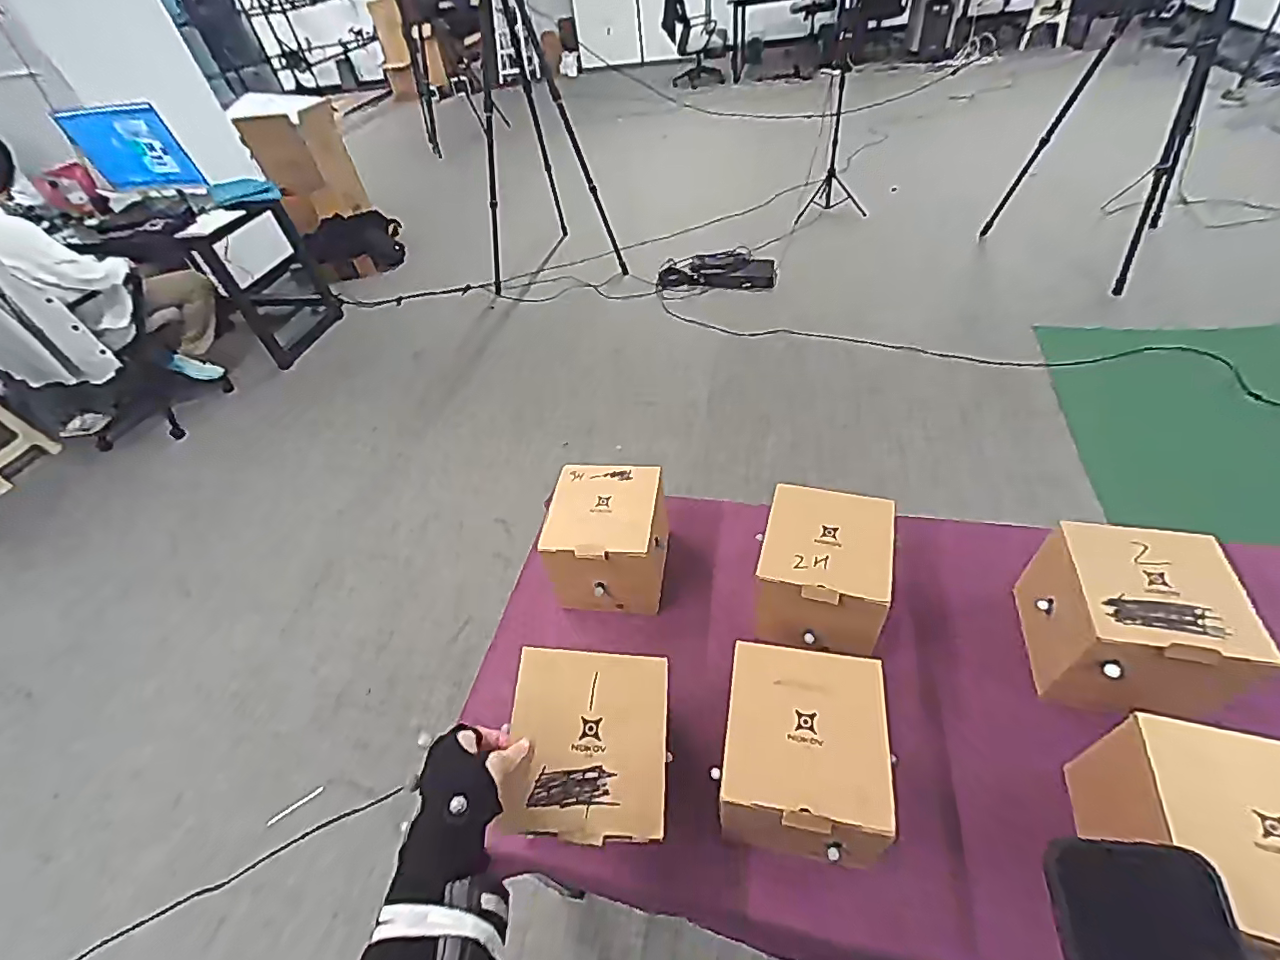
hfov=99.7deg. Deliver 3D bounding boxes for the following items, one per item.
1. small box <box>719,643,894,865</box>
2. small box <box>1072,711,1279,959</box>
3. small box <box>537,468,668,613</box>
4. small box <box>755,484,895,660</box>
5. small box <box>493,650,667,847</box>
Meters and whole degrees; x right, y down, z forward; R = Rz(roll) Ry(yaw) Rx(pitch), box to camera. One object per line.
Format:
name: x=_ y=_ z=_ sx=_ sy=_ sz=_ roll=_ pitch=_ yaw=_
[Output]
small box: x=0.186 y=0.319 z=0.629 sx=0.168 sy=0.176 sz=0.179 roll=4 pitch=47 yaw=14
small box: x=0.558 y=0.359 z=0.520 sx=0.168 sy=0.176 sz=0.179 roll=7 pitch=49 yaw=17
small box: x=-0.048 y=0.100 z=0.881 sx=0.168 sy=0.176 sz=0.179 roll=1 pitch=48 yaw=11
small box: x=0.264 y=0.134 z=0.790 sx=0.168 sy=0.176 sz=0.179 roll=9 pitch=49 yaw=19
small box: x=-0.065 y=0.308 z=0.628 sx=0.168 sy=0.176 sz=0.179 roll=6 pitch=61 yaw=-6
